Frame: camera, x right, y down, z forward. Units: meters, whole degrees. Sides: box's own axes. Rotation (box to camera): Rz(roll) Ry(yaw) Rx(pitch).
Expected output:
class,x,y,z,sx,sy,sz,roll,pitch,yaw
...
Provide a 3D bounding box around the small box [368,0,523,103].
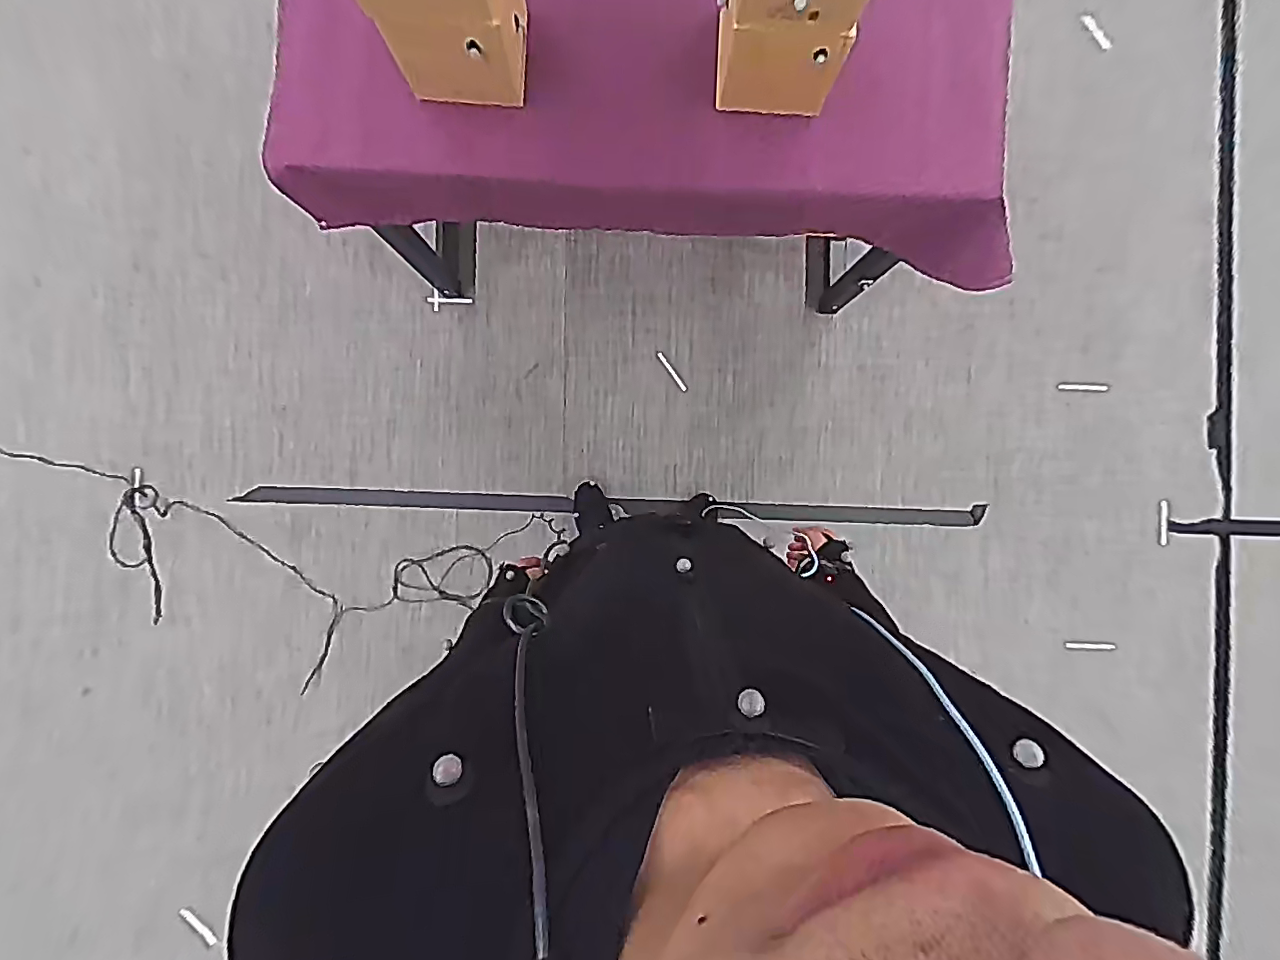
class,x,y,z,sx,sy,sz,roll,pitch,yaw
small box,-0.278,-0.704,0.809,0.179,0.176,0.168,3,90,-2

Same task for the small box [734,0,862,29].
class,x,y,z,sx,sy,sz,roll,pitch,yaw
small box,0.214,-0.709,0.660,0.168,0.176,0.179,3,91,-1

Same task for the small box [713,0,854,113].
class,x,y,z,sx,sy,sz,roll,pitch,yaw
small box,0.211,-0.697,0.824,0.179,0.176,0.168,3,90,-2
